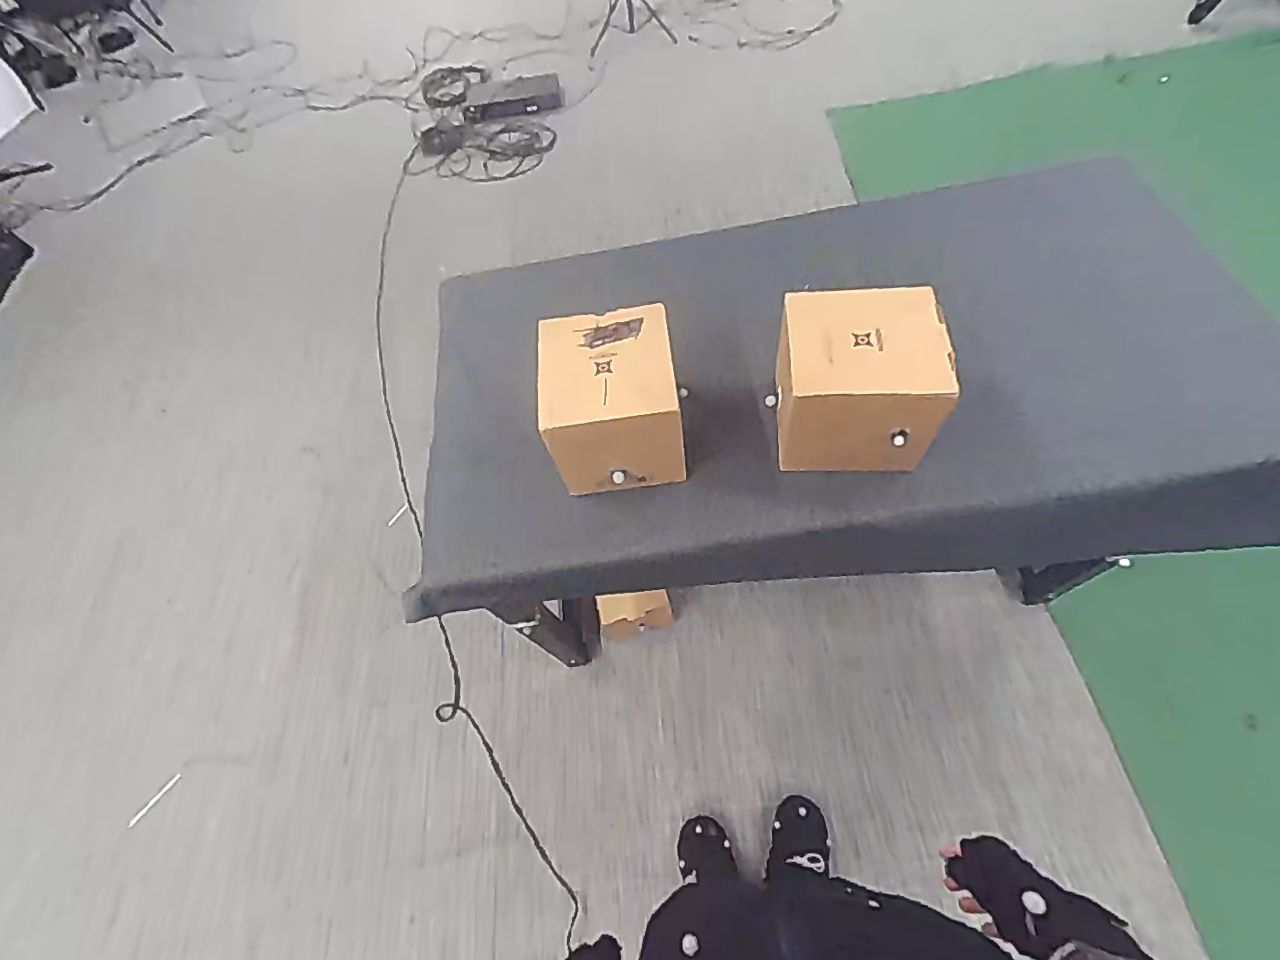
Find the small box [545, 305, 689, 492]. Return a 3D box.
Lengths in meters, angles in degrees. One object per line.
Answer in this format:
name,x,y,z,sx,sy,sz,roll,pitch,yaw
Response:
small box,-0.025,-0.104,0.730,0.168,0.176,0.179,-7,61,4

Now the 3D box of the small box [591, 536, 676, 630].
small box,-0.012,0.268,1.366,0.168,0.176,0.179,-17,62,-1

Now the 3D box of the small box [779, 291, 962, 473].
small box,0.278,-0.119,0.698,0.179,0.176,0.168,0,61,10
